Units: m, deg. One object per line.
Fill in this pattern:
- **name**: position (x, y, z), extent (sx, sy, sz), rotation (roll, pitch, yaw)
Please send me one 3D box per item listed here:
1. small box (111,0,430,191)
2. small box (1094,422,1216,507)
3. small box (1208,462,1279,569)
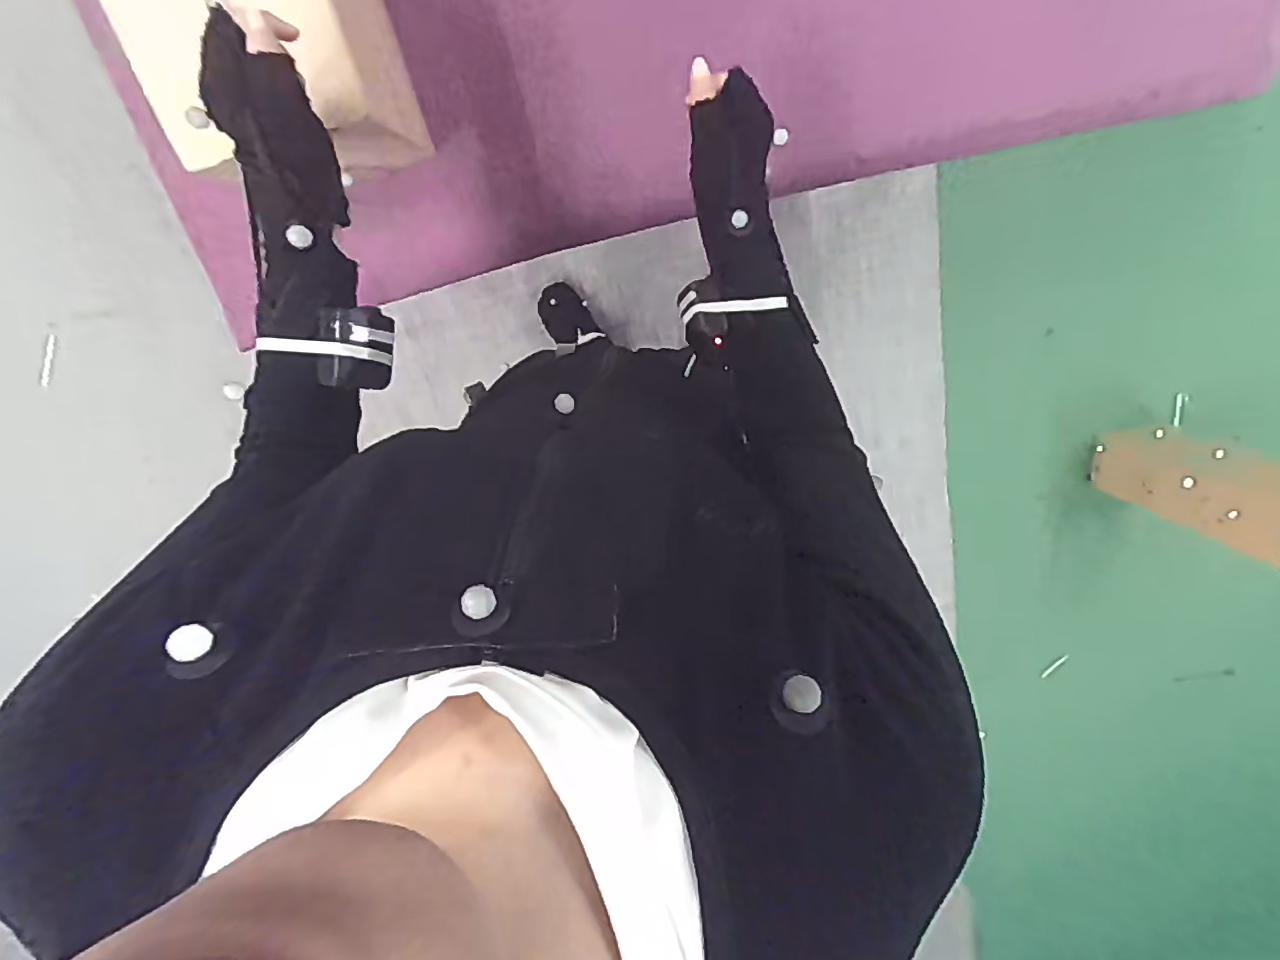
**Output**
- **small box**: position (-0.320, -0.387, 0.492), extent (0.168, 0.176, 0.179), rotation (-14, 112, 3)
- **small box**: position (1.410, -0.046, 1.495), extent (0.179, 0.176, 0.168), rotation (-14, 112, 2)
- **small box**: position (1.431, 0.072, 1.189), extent (0.179, 0.176, 0.168), rotation (-16, 112, 4)
